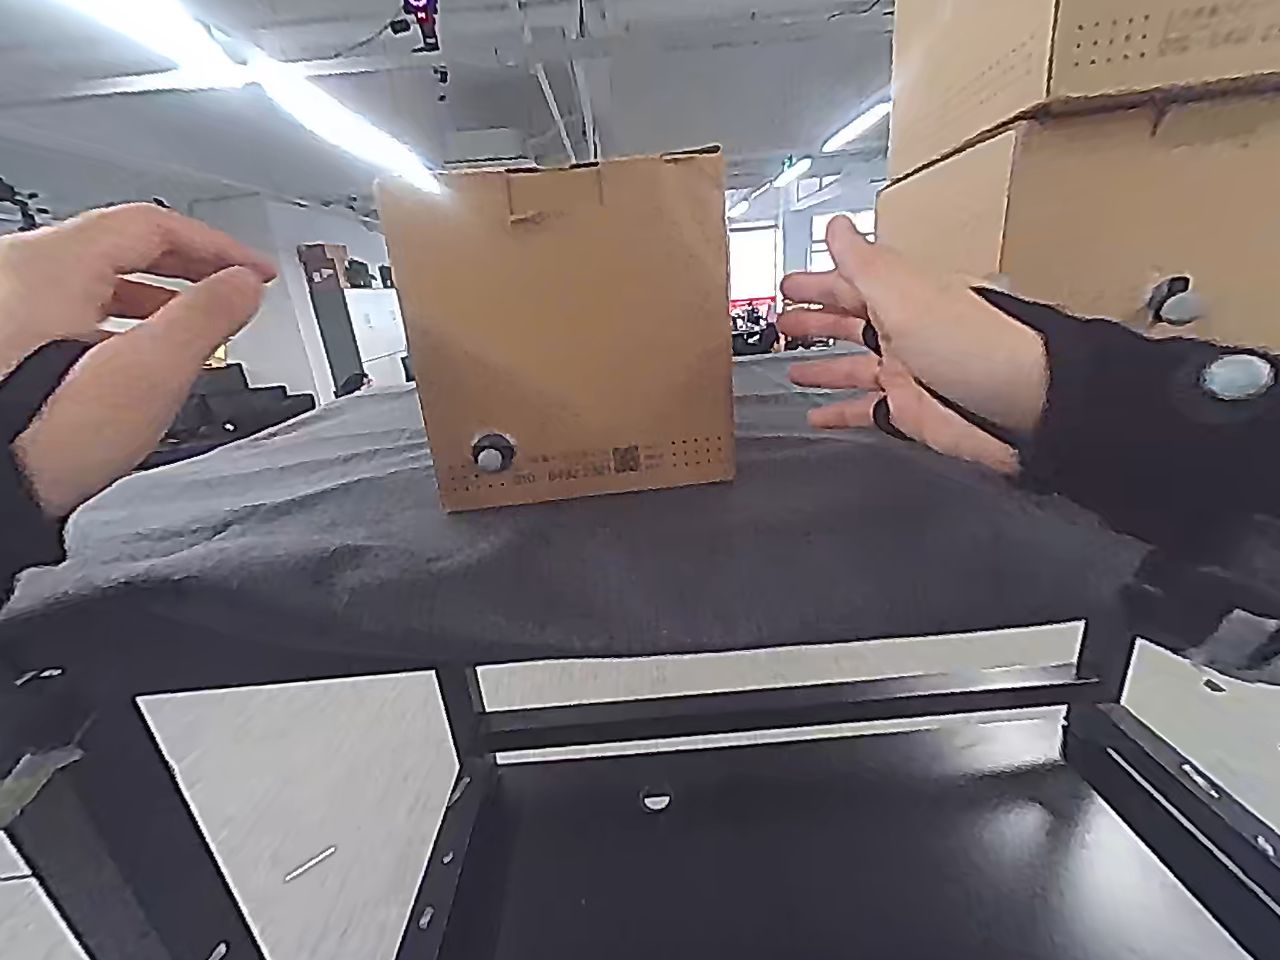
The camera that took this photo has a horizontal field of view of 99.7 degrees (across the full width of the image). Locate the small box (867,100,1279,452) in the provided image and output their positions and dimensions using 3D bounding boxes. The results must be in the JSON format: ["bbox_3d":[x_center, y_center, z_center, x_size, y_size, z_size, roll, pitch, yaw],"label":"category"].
[{"bbox_3d":[0.261,-0.117,0.348,0.168,0.176,0.179,-3,19,3],"label":"small box"}]

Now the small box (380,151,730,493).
[{"bbox_3d":[-0.040,-0.093,0.357,0.168,0.176,0.179,-6,17,-3],"label":"small box"}]
